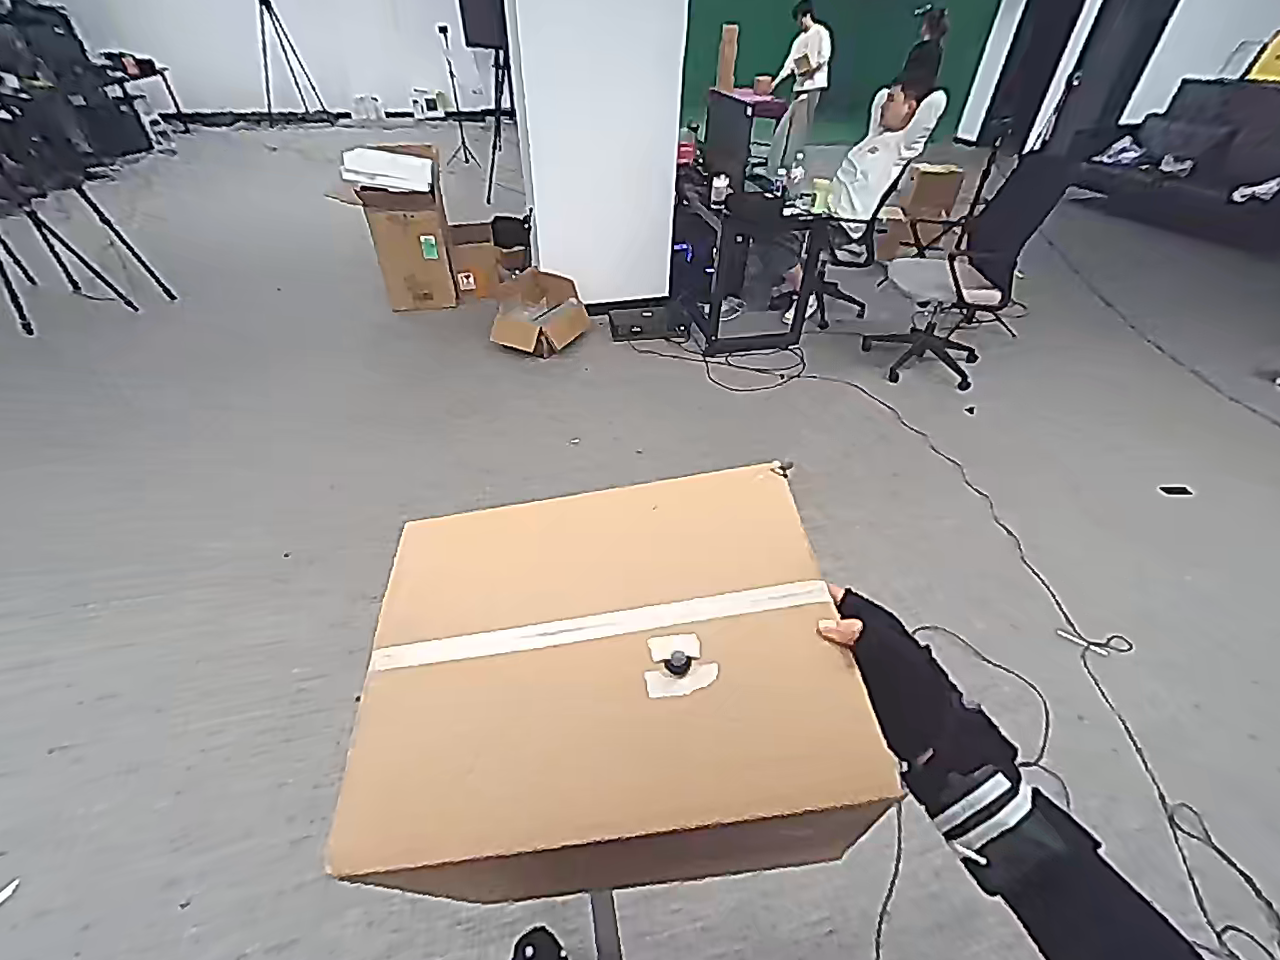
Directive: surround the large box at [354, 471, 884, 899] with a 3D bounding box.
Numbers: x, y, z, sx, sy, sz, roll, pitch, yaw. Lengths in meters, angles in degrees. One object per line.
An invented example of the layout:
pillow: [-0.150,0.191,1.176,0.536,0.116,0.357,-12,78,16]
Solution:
large box: [-0.015,0.233,0.601,0.408,0.320,0.320,-9,49,2]
